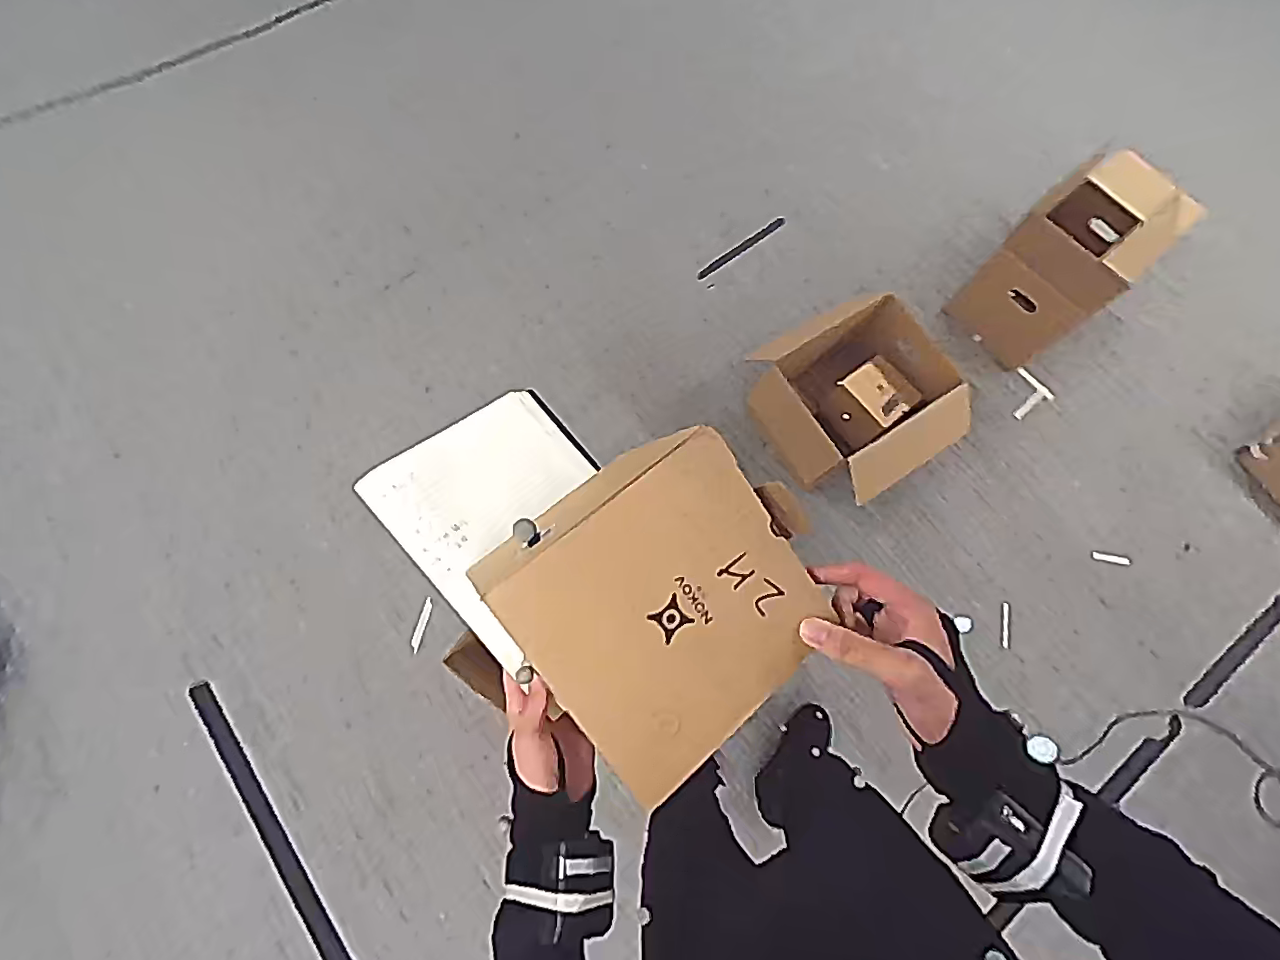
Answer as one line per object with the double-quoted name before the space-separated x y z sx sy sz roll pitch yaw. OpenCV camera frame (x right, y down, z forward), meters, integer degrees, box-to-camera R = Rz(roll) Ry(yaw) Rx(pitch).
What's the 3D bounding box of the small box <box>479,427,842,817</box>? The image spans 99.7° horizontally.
"small box" -0.001 0.084 0.397 0.179 0.176 0.168 -37 100 -18
